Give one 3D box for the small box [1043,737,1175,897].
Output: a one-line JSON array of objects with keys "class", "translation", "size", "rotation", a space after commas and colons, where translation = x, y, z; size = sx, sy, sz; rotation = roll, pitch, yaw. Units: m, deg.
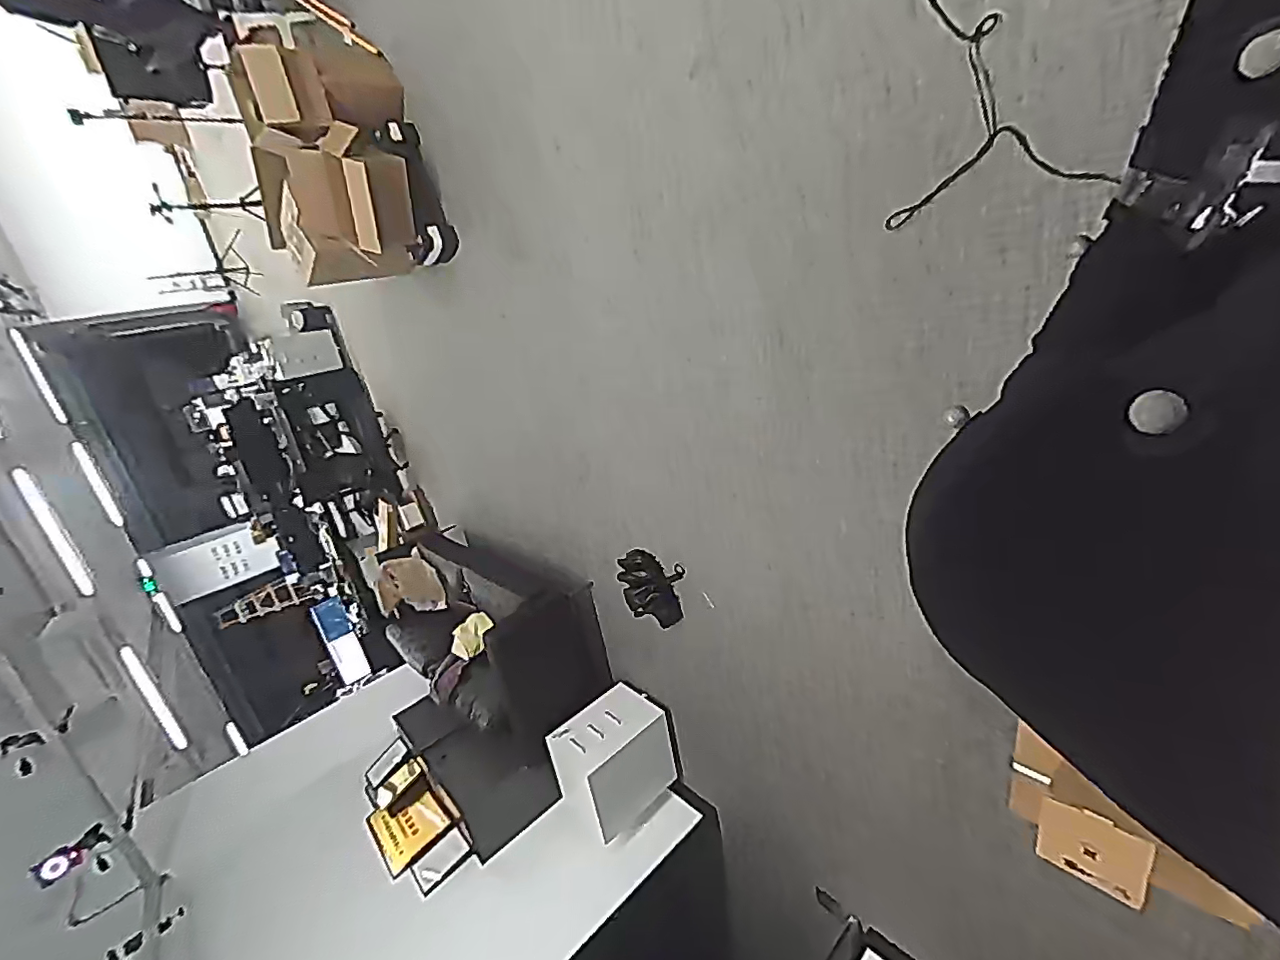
[{"class": "small box", "translation": [0.941, 0.661, 1.086], "size": [0.168, 0.176, 0.179], "rotation": [14, 121, 47]}]
